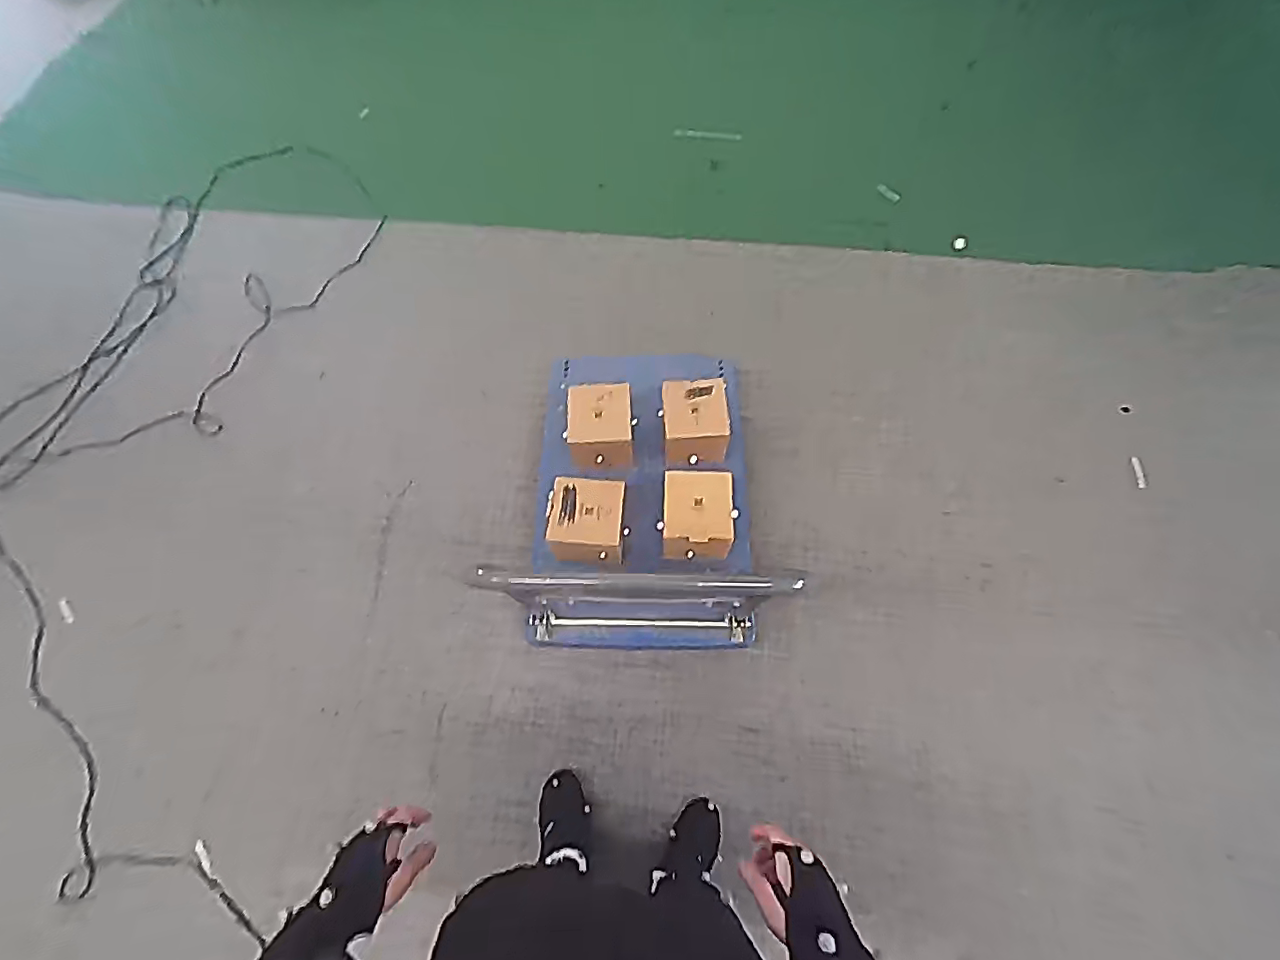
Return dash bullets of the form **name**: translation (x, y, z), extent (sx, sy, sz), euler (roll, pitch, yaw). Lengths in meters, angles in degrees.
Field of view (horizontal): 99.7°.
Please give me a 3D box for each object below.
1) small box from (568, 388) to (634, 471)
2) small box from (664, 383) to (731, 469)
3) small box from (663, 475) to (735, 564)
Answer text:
- **small box**: translation (-0.101, -0.132, 1.484), extent (0.168, 0.176, 0.179), euler (-2, 65, 0)
- **small box**: translation (0.152, -0.145, 1.483), extent (0.168, 0.176, 0.179), euler (-3, 66, 1)
- **small box**: translation (0.145, 0.102, 1.372), extent (0.168, 0.176, 0.179), euler (2, 66, 2)
